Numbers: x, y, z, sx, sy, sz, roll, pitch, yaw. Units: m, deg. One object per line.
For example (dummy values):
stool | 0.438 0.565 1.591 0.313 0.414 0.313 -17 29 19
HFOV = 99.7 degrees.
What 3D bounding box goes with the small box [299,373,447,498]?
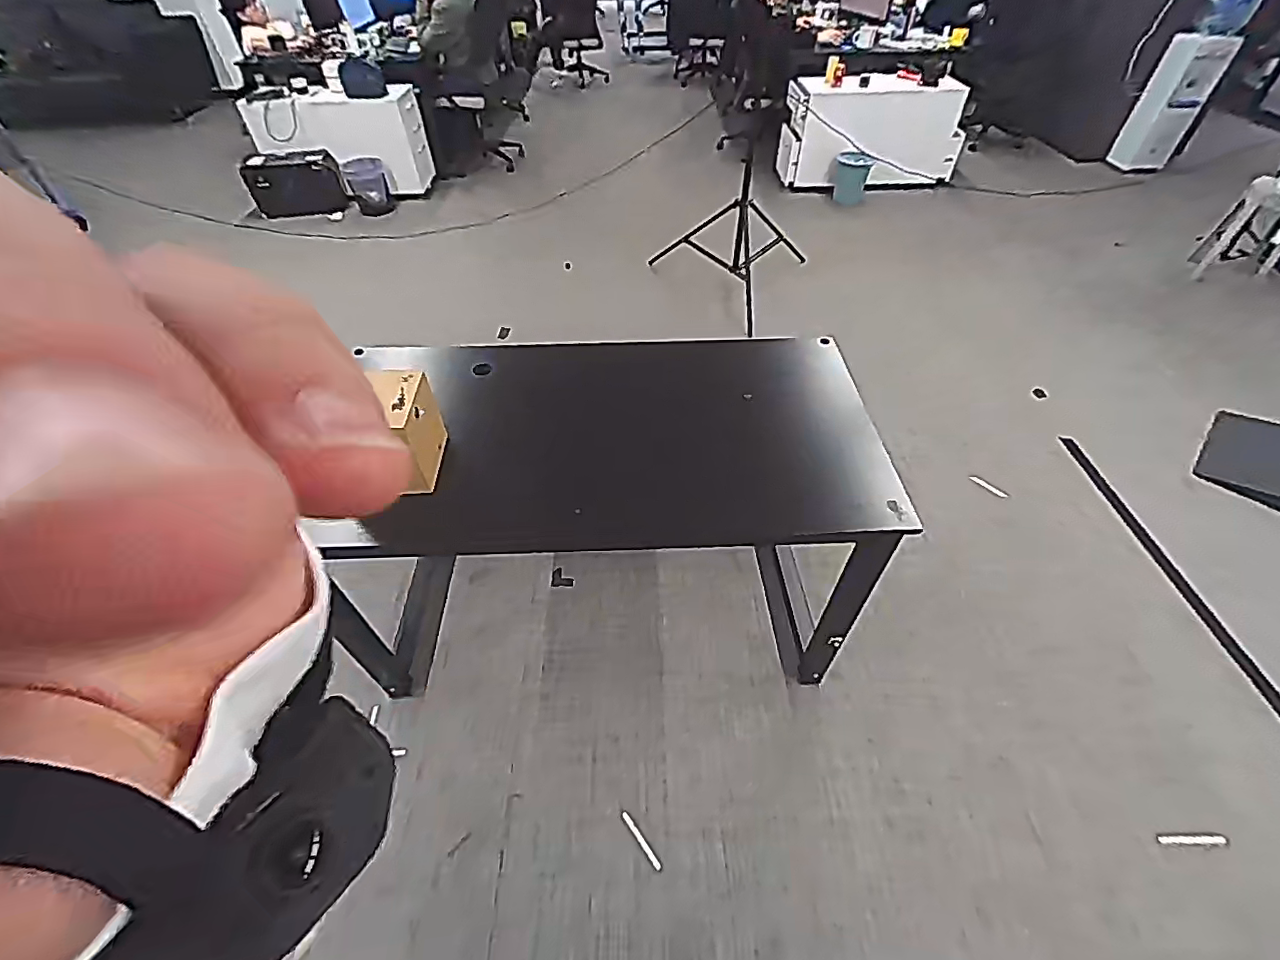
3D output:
small box | -0.484 -0.080 1.012 0.179 0.176 0.168 -3 47 -2
